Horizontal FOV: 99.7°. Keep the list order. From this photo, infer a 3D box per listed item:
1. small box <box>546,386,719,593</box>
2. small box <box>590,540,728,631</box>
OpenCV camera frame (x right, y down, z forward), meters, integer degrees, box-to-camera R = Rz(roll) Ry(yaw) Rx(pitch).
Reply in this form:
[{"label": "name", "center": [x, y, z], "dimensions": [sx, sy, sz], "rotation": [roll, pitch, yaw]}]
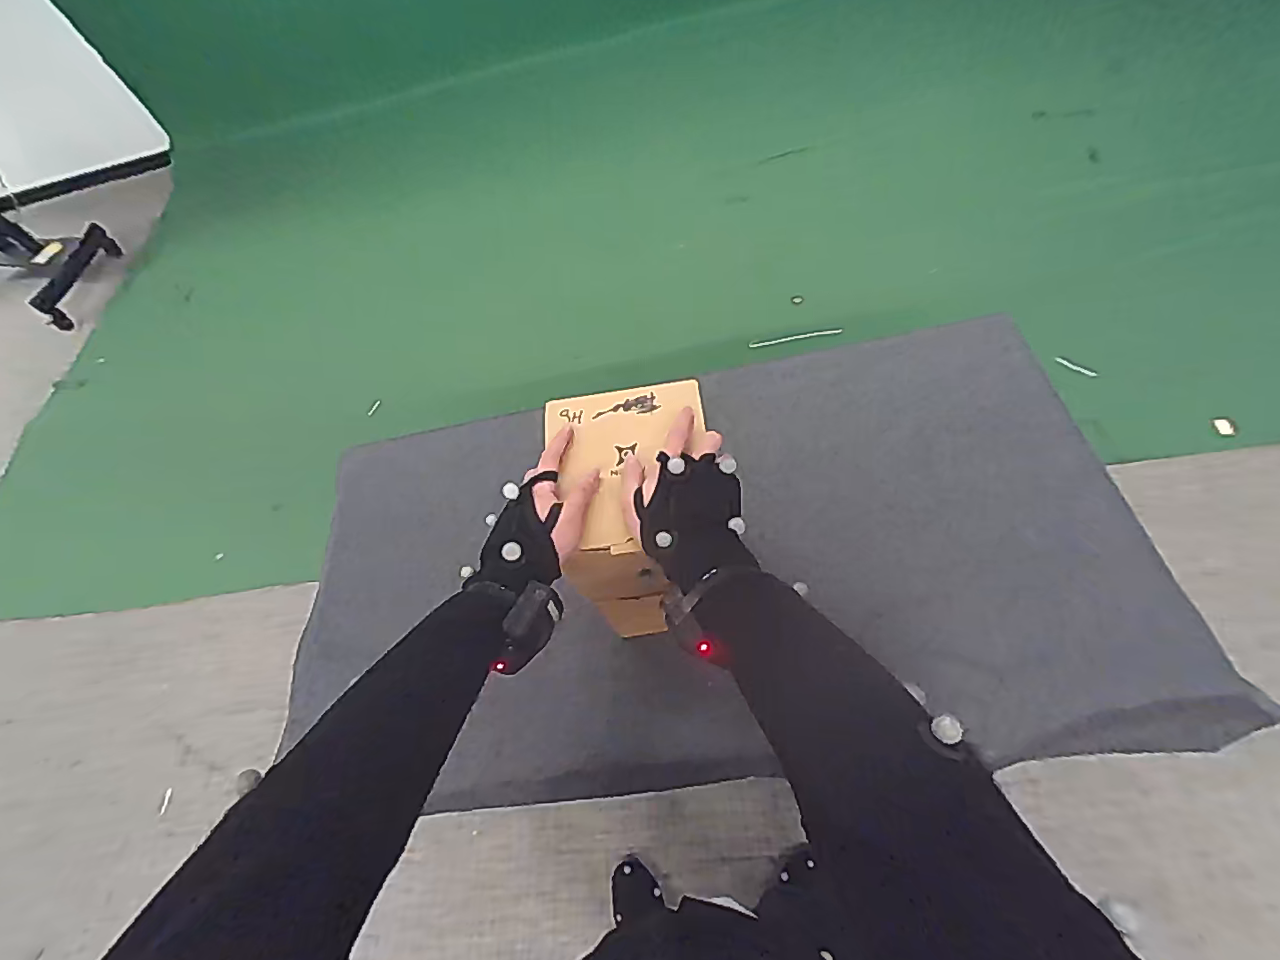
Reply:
[{"label": "small box", "center": [-0.003, 0.022, 0.607], "dimensions": [0.168, 0.176, 0.179], "rotation": [-7, 63, 4]}, {"label": "small box", "center": [0.026, 0.101, 0.744], "dimensions": [0.168, 0.176, 0.179], "rotation": [-10, 59, 5]}]
